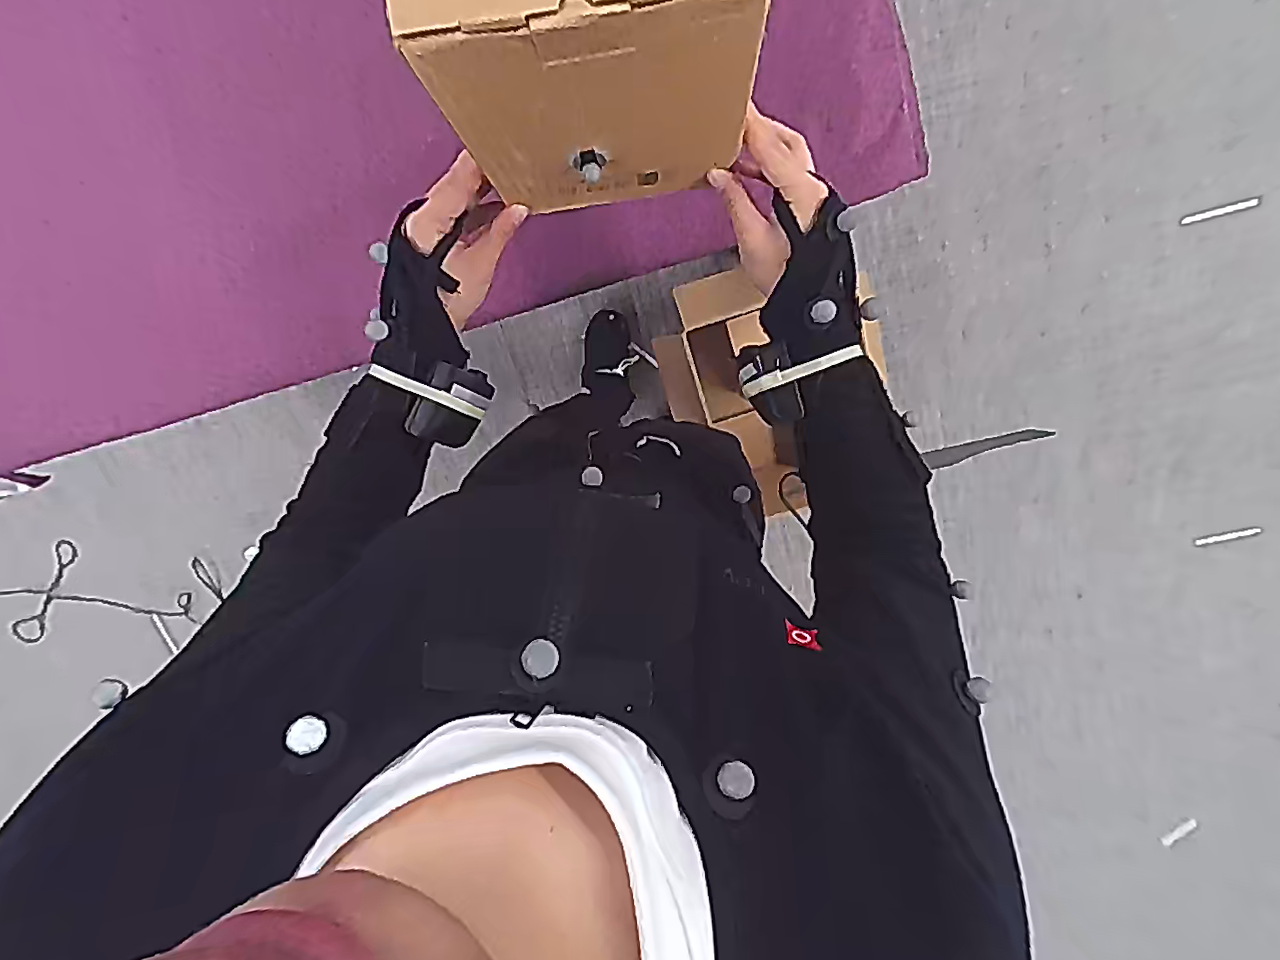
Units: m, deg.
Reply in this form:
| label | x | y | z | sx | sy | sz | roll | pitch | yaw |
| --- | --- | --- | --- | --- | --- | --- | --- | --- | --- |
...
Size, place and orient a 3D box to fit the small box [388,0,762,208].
| label | x | y | z | sx | sy | sz | roll | pitch | yaw |
| --- | --- | --- | --- | --- | --- | --- | --- | --- | --- |
| small box | -0.030 | -0.289 | 0.309 | 0.168 | 0.176 | 0.179 | -6 | 92 | 5 |
